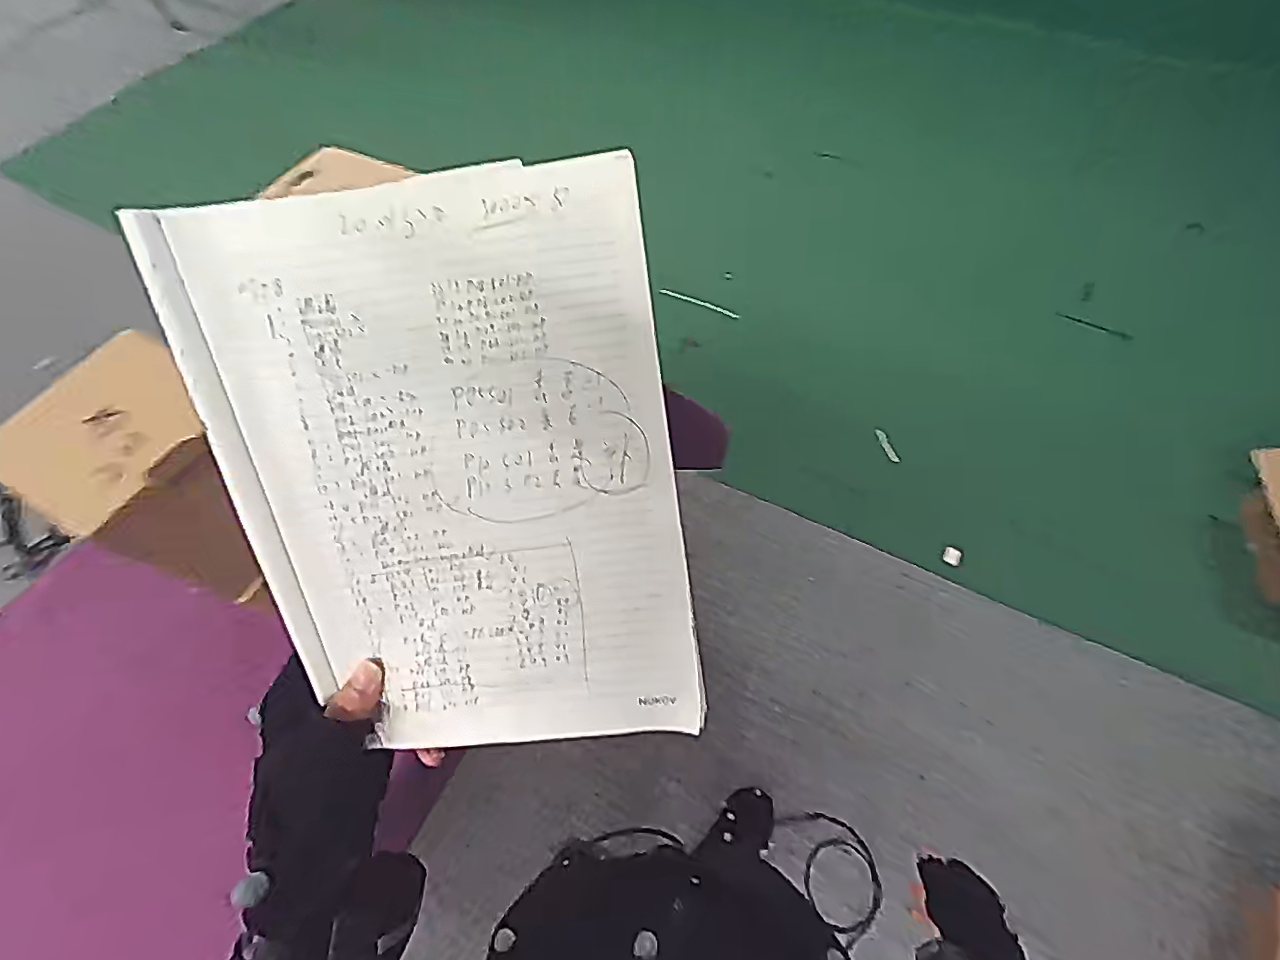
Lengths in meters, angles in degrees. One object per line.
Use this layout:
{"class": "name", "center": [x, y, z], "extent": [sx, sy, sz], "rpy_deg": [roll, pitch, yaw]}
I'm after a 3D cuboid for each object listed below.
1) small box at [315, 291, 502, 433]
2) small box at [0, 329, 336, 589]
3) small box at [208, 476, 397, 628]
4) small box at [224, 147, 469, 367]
{"class": "small box", "center": [-0.337, -0.196, 0.823], "extent": [0.179, 0.176, 0.168], "rpy_deg": [25, 65, 15]}
{"class": "small box", "center": [-0.460, -0.013, 0.542], "extent": [0.179, 0.176, 0.168], "rpy_deg": [25, 66, 15]}
{"class": "small box", "center": [-0.450, 0.070, 0.684], "extent": [0.179, 0.176, 0.168], "rpy_deg": [22, 65, 14]}
{"class": "small box", "center": [-0.345, -0.269, 0.677], "extent": [0.179, 0.176, 0.168], "rpy_deg": [25, 64, 14]}
